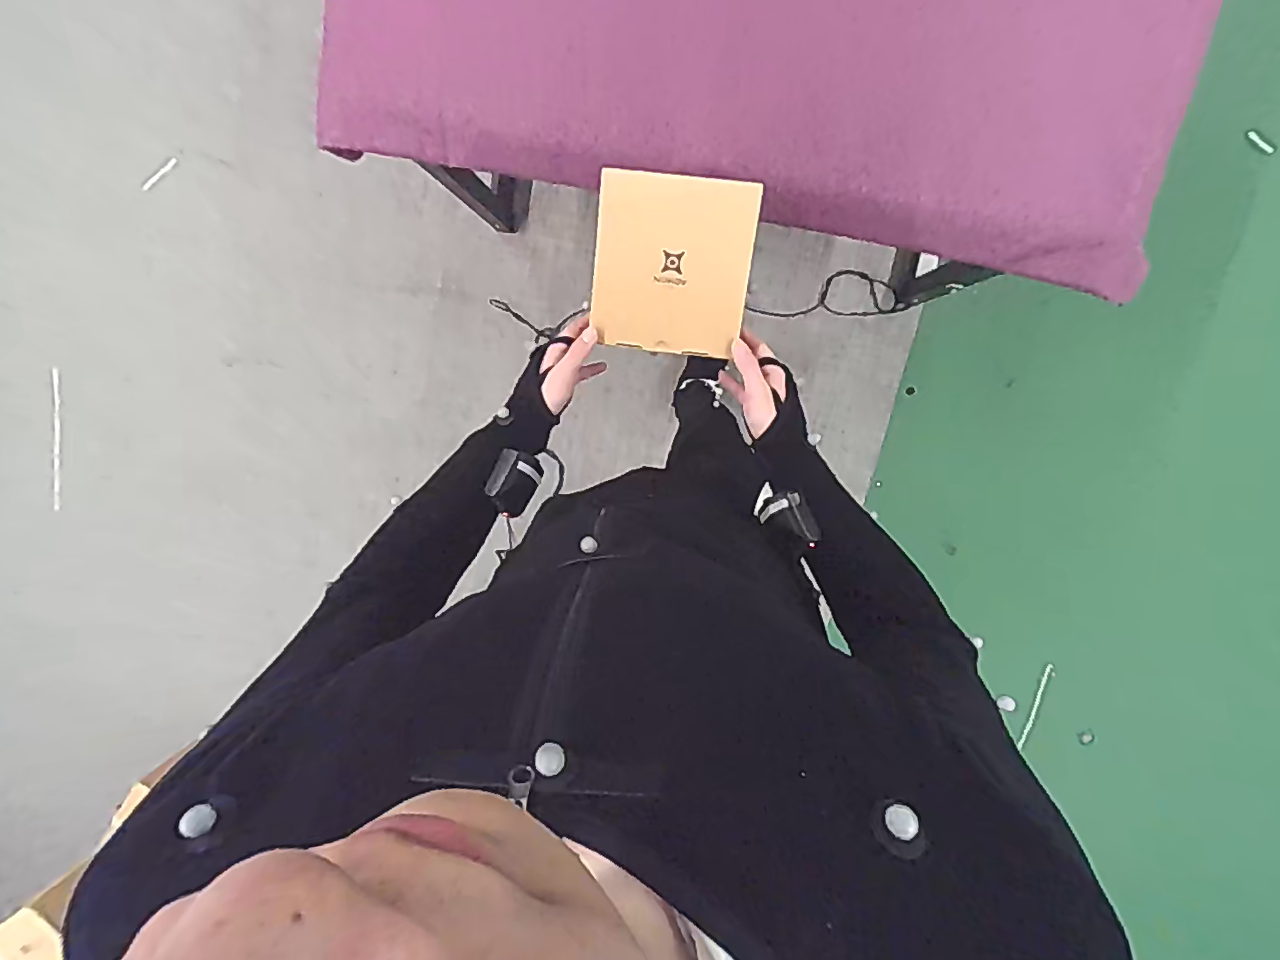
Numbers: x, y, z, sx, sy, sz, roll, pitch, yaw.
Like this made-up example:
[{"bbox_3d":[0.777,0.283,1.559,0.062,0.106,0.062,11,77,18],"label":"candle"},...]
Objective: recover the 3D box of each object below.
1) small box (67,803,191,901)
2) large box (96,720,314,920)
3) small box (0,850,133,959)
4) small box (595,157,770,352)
[{"bbox_3d":[-1.407,1.041,1.485,0.179,0.176,0.168,-34,96,8],"label":"small box"},{"bbox_3d":[-1.376,1.070,1.737,0.408,0.320,0.320,35,101,-3],"label":"large box"},{"bbox_3d":[-1.419,1.065,1.321,0.179,0.176,0.168,-35,96,7],"label":"small box"},{"bbox_3d":[0.044,-0.256,0.641,0.168,0.176,0.179,7,108,1],"label":"small box"}]
